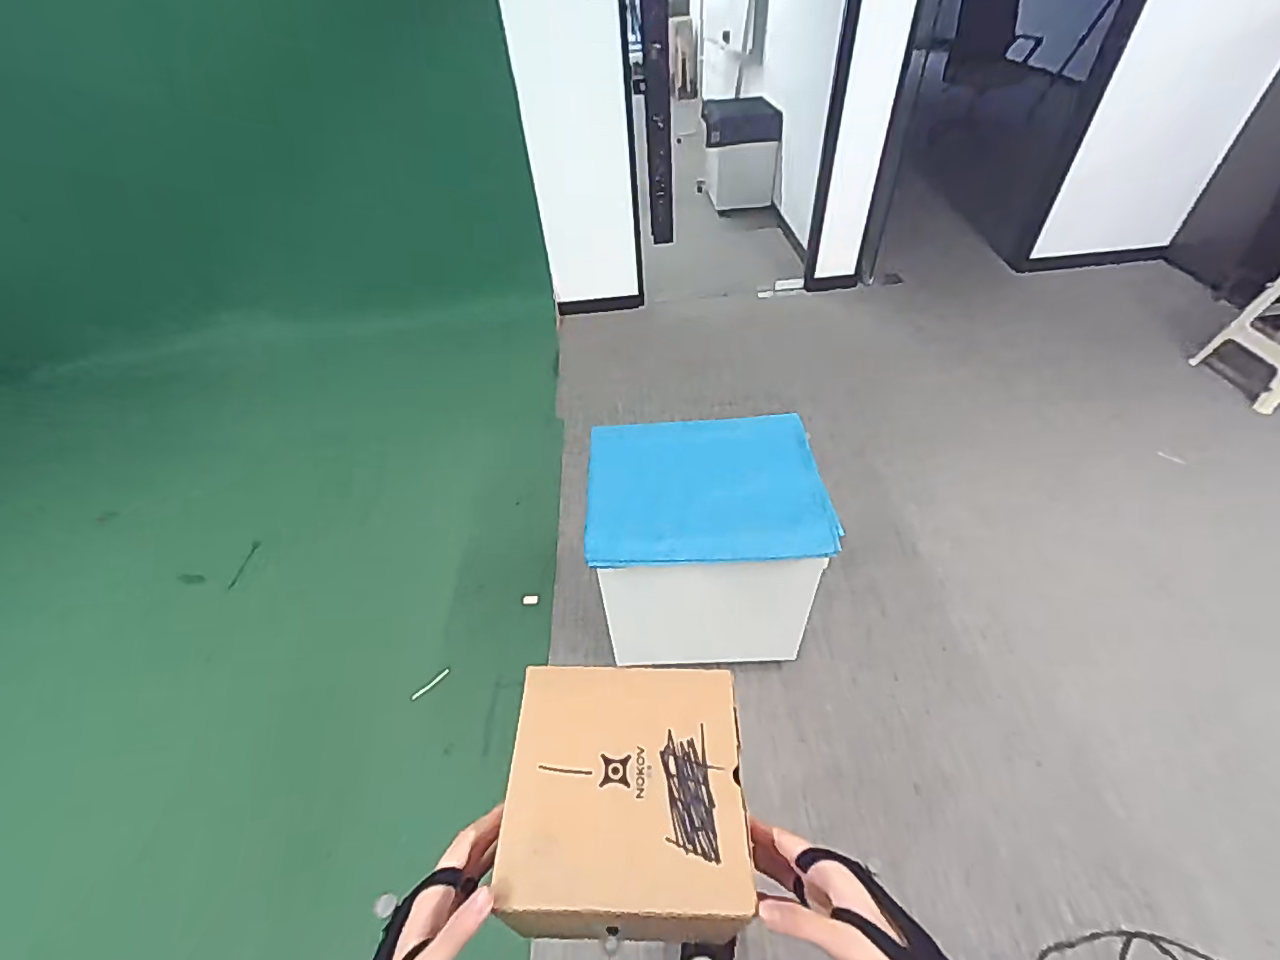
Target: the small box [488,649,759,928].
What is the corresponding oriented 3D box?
[{"bbox_3d":[-0.011,0.260,0.456,0.179,0.176,0.168,2,45,0],"label":"small box"}]
